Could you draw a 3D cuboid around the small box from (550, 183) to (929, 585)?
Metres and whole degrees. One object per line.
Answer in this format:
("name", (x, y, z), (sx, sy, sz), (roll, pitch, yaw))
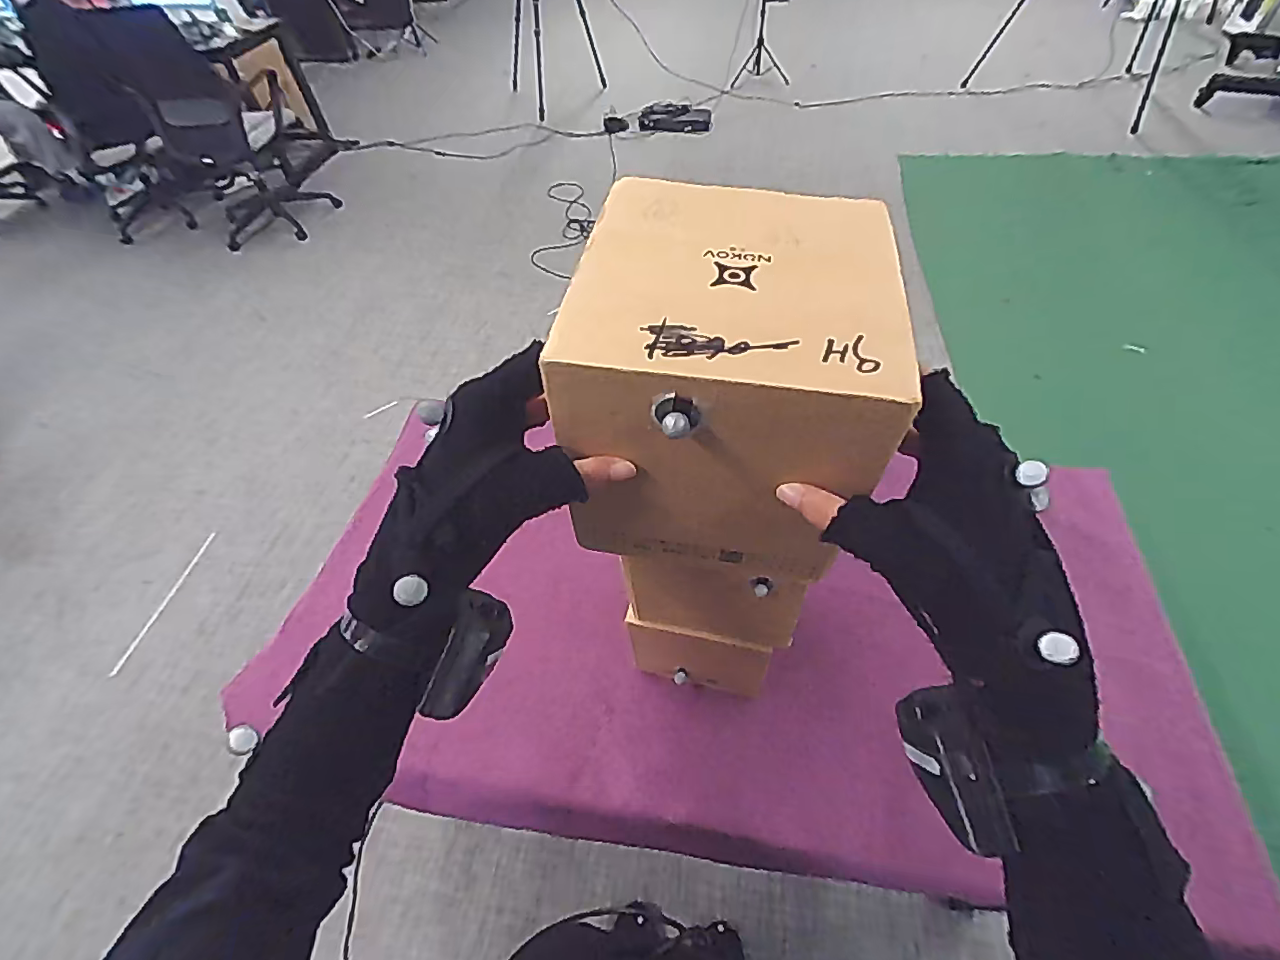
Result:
("small box", (0.054, -0.058, 0.343), (0.168, 0.176, 0.179), (7, 53, 7))

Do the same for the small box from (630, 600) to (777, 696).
("small box", (0.092, 0.152, 0.697), (0.168, 0.176, 0.179), (9, 54, 13))

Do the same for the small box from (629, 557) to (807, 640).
("small box", (0.087, 0.051, 0.570), (0.179, 0.176, 0.168), (8, 53, 11))
